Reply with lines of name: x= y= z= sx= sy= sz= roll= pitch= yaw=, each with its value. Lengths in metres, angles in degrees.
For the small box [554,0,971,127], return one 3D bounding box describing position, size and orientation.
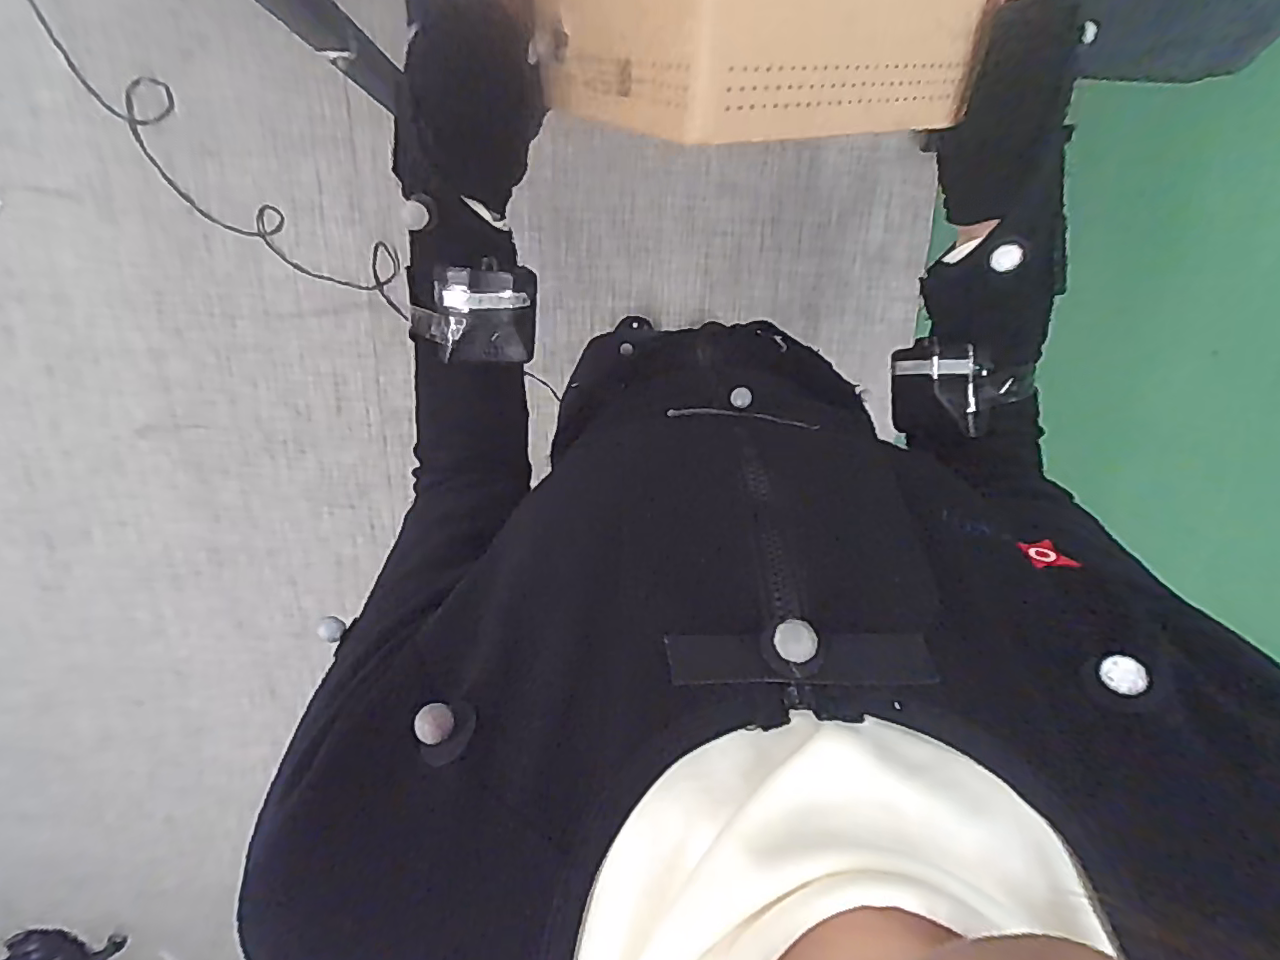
small box: x=0.060 y=-0.283 z=0.268 sx=0.179 sy=0.168 sz=0.176 roll=-20 pitch=134 yaw=-25
